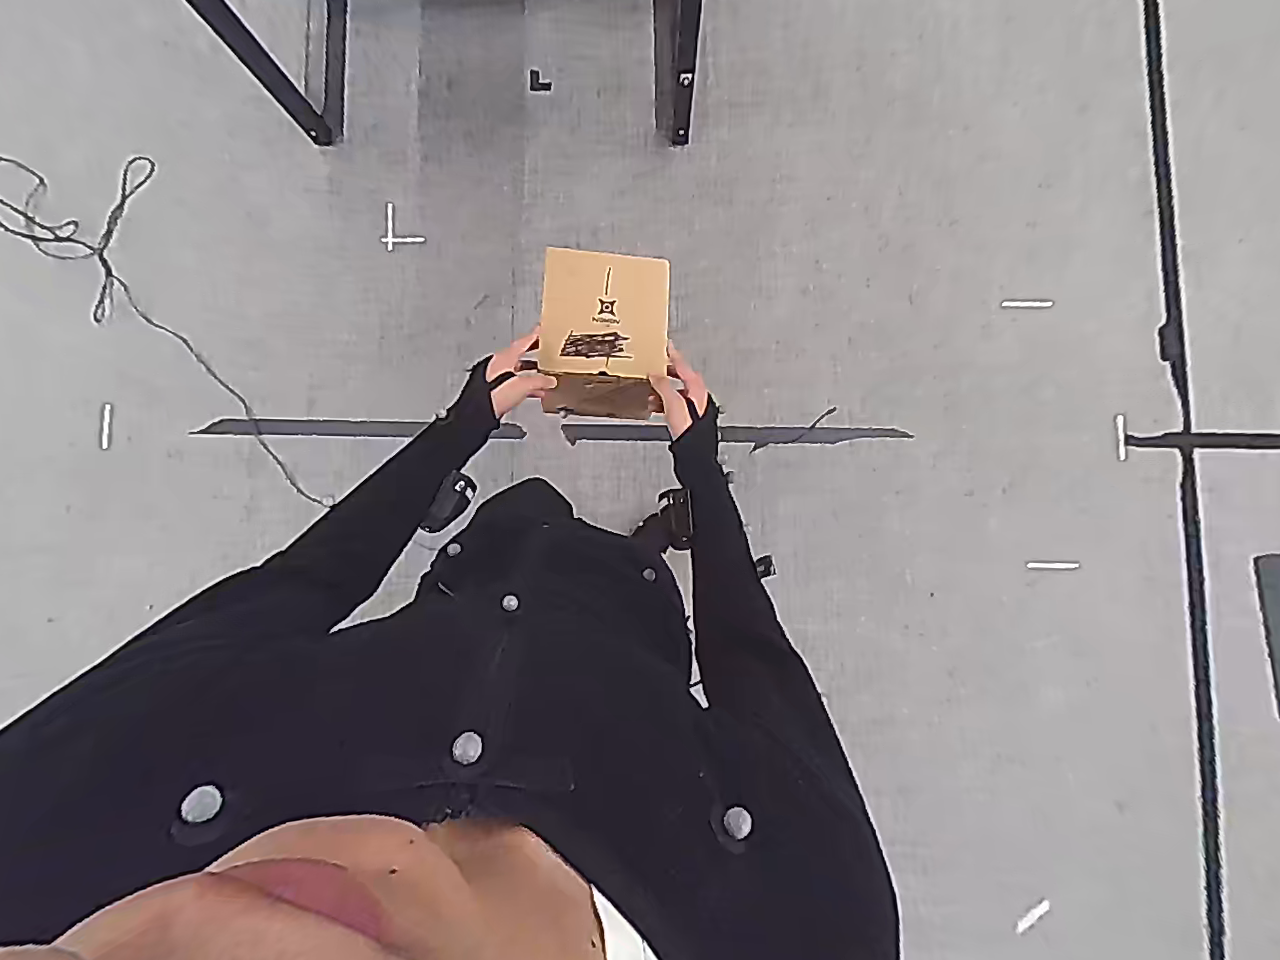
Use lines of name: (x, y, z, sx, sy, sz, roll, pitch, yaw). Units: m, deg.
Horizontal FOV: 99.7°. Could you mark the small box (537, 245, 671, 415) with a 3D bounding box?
small box: (-0.052, -0.201, 0.771, 0.168, 0.176, 0.179, 3, 78, -7)
